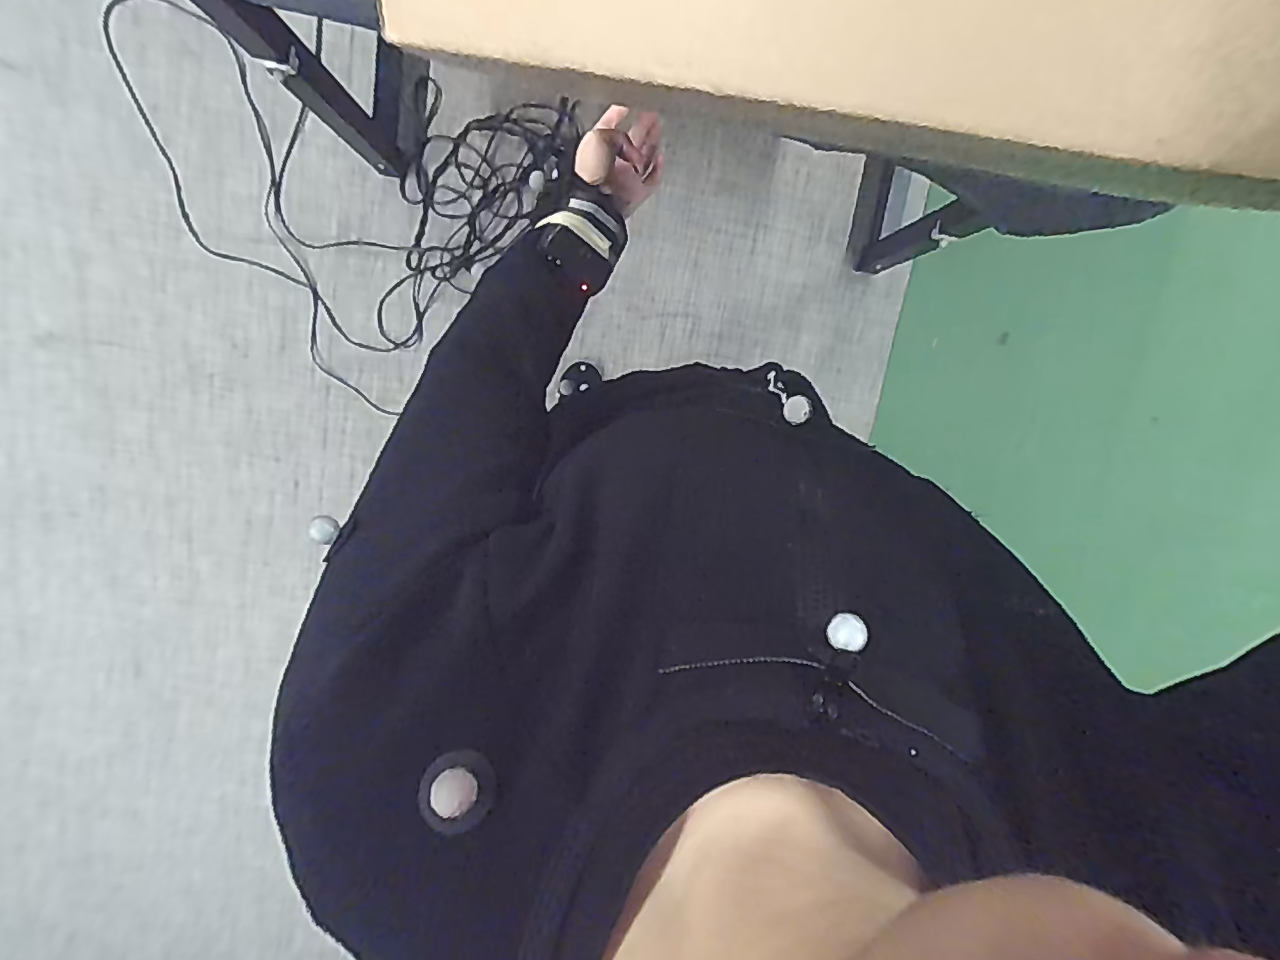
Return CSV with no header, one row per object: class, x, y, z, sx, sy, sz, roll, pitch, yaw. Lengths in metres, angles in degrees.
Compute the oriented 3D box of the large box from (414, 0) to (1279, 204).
large box,0.141,-0.341,0.259,0.408,0.320,0.320,17,124,14
